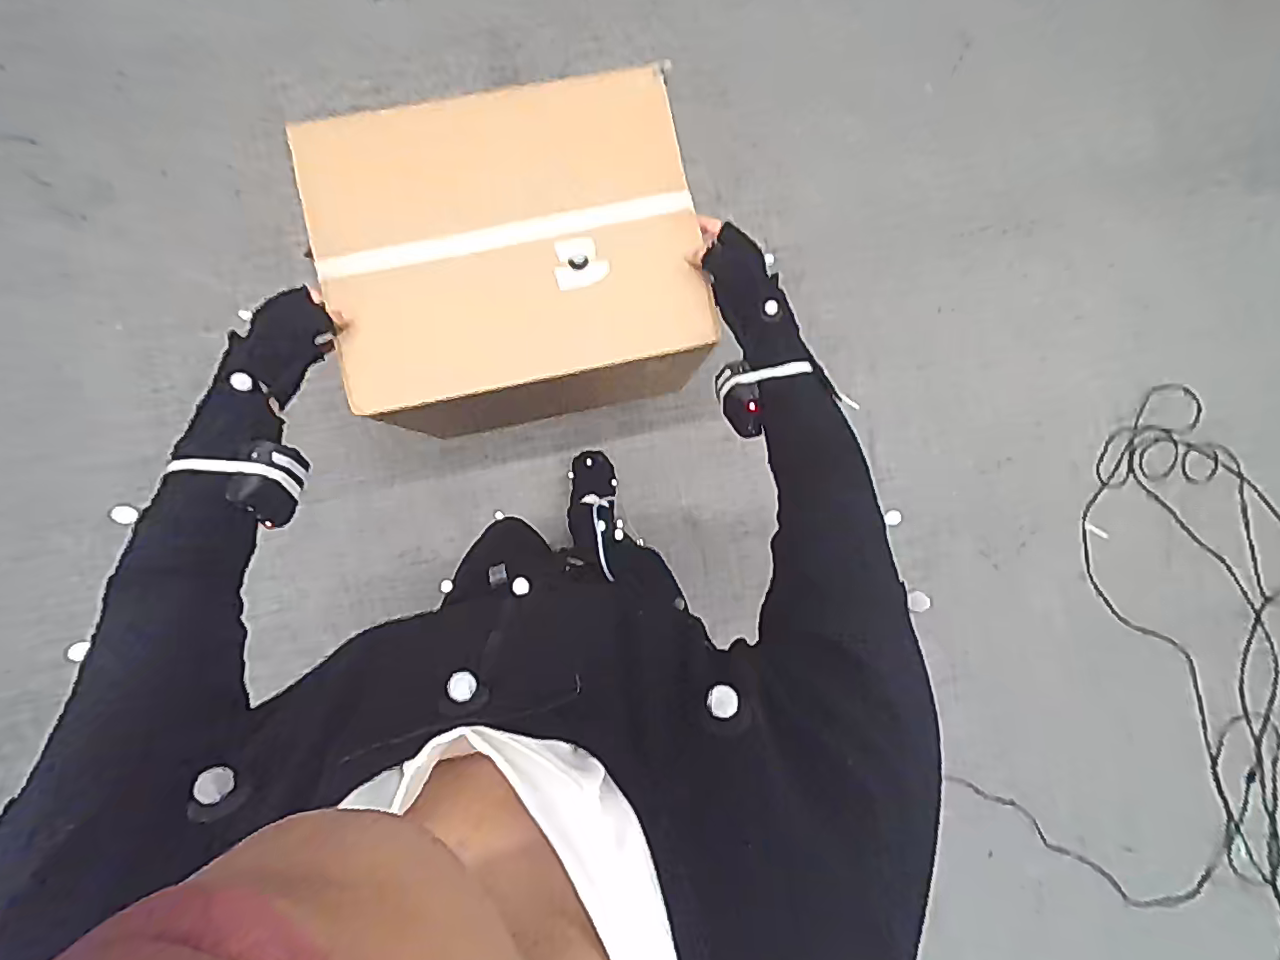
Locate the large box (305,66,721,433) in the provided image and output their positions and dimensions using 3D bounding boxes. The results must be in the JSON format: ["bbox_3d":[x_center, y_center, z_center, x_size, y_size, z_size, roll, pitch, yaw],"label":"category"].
[{"bbox_3d":[-0.146,-0.268,0.738,0.408,0.320,0.320,-13,91,-4],"label":"large box"}]
